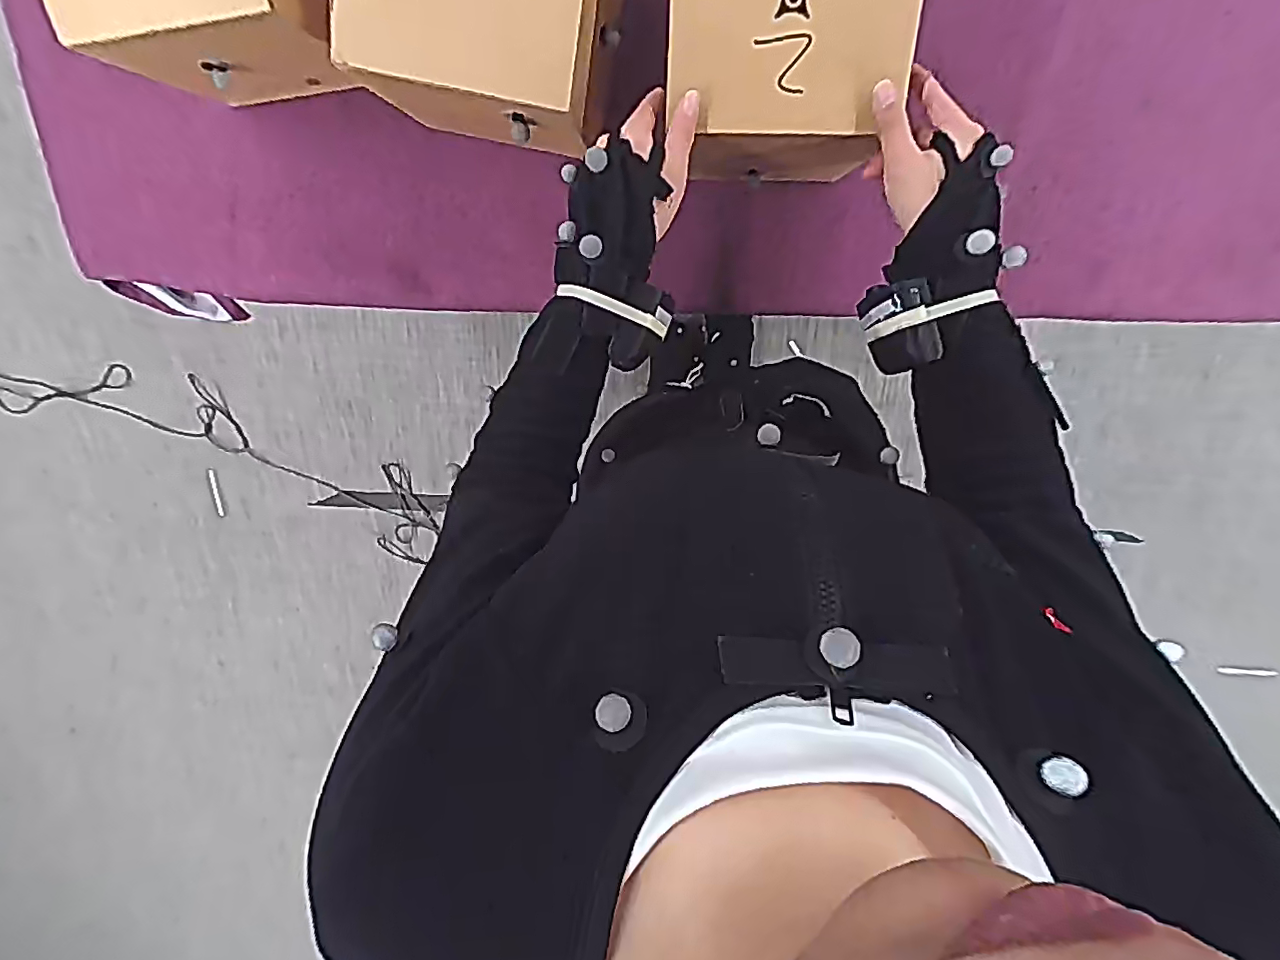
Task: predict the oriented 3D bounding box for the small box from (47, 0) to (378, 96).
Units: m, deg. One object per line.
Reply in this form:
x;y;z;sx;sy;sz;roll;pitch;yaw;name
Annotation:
-0.341;-0.433;0.430;0.168;0.176;0.179;-5;110;6;small box
